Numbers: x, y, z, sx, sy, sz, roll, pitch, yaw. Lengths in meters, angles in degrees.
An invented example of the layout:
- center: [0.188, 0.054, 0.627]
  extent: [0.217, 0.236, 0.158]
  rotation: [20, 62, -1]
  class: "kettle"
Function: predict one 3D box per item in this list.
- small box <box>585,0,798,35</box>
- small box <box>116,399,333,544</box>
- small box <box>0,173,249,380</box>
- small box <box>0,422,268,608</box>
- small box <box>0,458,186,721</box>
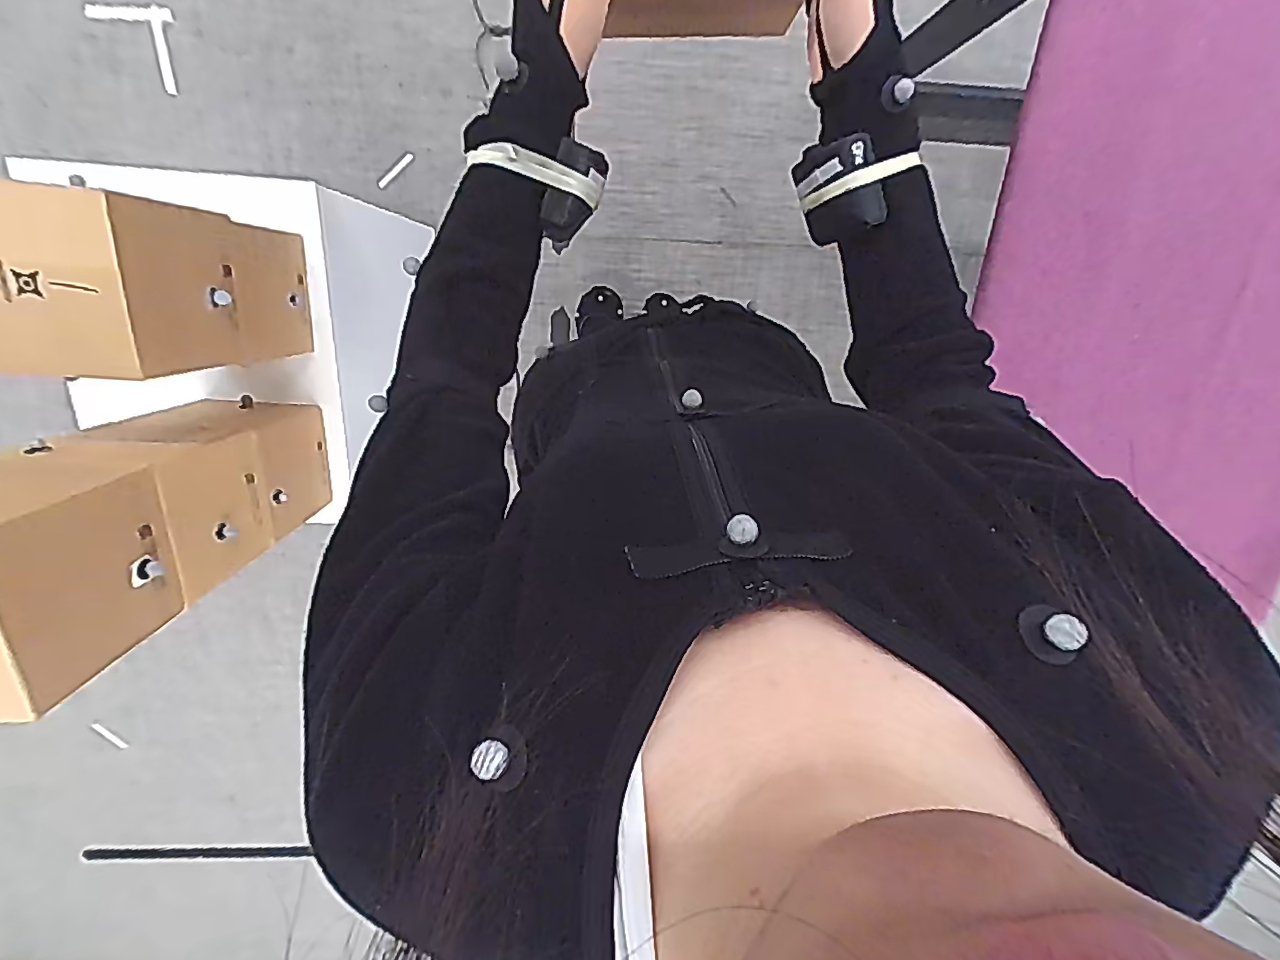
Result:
- center: [0.044, -0.435, 0.364]
  extent: [0.179, 0.176, 0.168]
  rotation: [-1, 109, 0]
  class: "small box"
- center: [-0.579, -0.020, 0.780]
  extent: [0.179, 0.176, 0.168]
  rotation: [3, 109, -3]
  class: "small box"
- center: [-0.544, -0.202, 0.545]
  extent: [0.179, 0.176, 0.168]
  rotation: [4, 109, -6]
  class: "small box"
- center: [-0.568, 0.032, 0.626]
  extent: [0.179, 0.176, 0.168]
  rotation: [2, 109, -3]
  class: "small box"
- center: [-0.561, 0.083, 0.472]
  extent: [0.179, 0.176, 0.168]
  rotation: [1, 110, -4]
  class: "small box"
